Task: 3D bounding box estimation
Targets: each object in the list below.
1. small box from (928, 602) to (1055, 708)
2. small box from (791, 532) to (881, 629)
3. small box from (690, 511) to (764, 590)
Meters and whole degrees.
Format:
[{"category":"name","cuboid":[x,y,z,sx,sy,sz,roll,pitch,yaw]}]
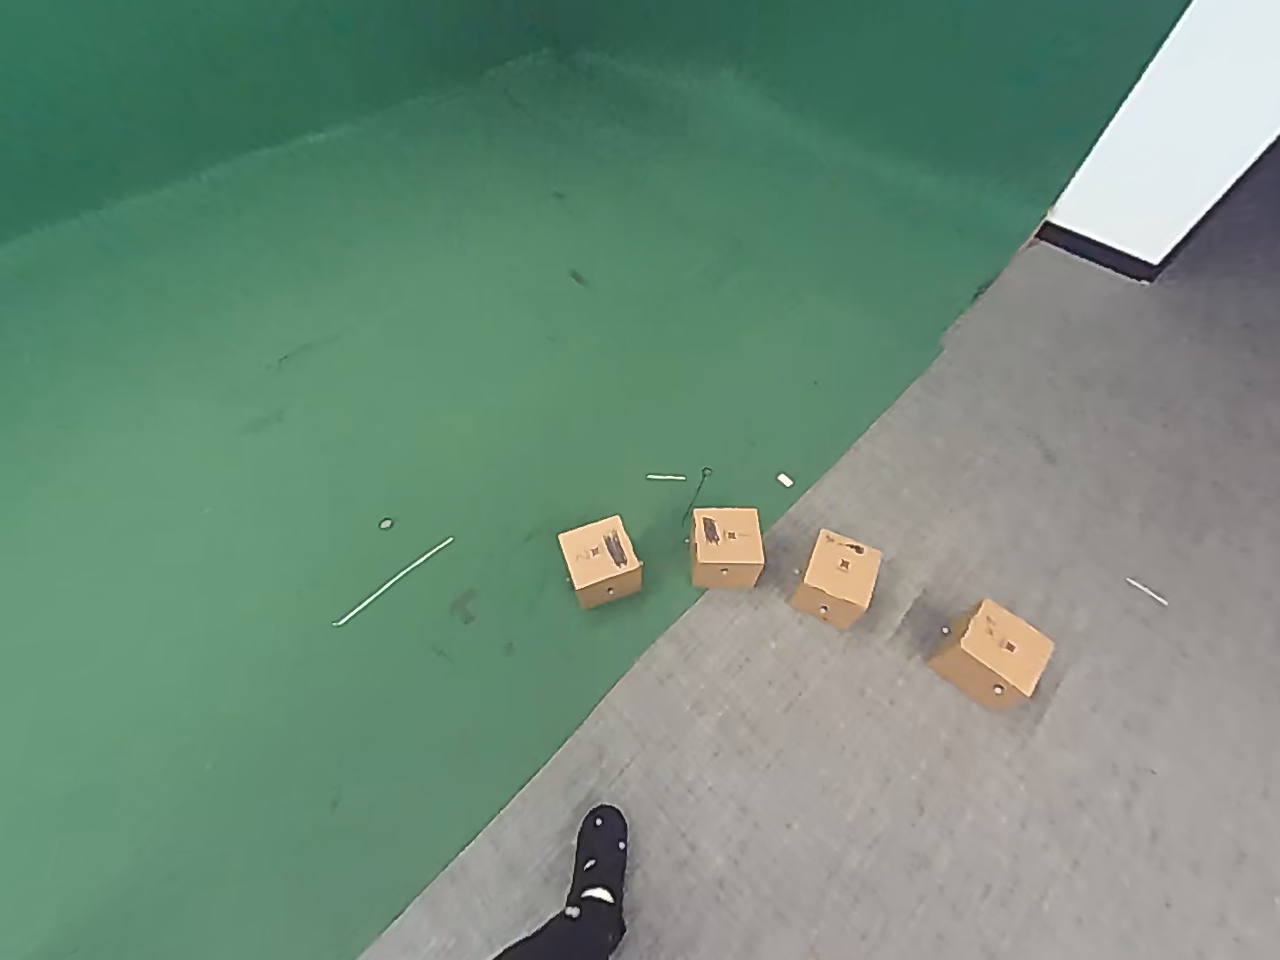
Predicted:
[{"category":"small box","cuboid":[0.864,0.441,1.342,0.179,0.176,0.168,38,64,21]},{"category":"small box","cuboid":[0.518,0.274,1.449,0.168,0.176,0.179,23,60,14]},{"category":"small box","cuboid":[0.232,0.199,1.496,0.179,0.176,0.168,1,57,-1]}]
